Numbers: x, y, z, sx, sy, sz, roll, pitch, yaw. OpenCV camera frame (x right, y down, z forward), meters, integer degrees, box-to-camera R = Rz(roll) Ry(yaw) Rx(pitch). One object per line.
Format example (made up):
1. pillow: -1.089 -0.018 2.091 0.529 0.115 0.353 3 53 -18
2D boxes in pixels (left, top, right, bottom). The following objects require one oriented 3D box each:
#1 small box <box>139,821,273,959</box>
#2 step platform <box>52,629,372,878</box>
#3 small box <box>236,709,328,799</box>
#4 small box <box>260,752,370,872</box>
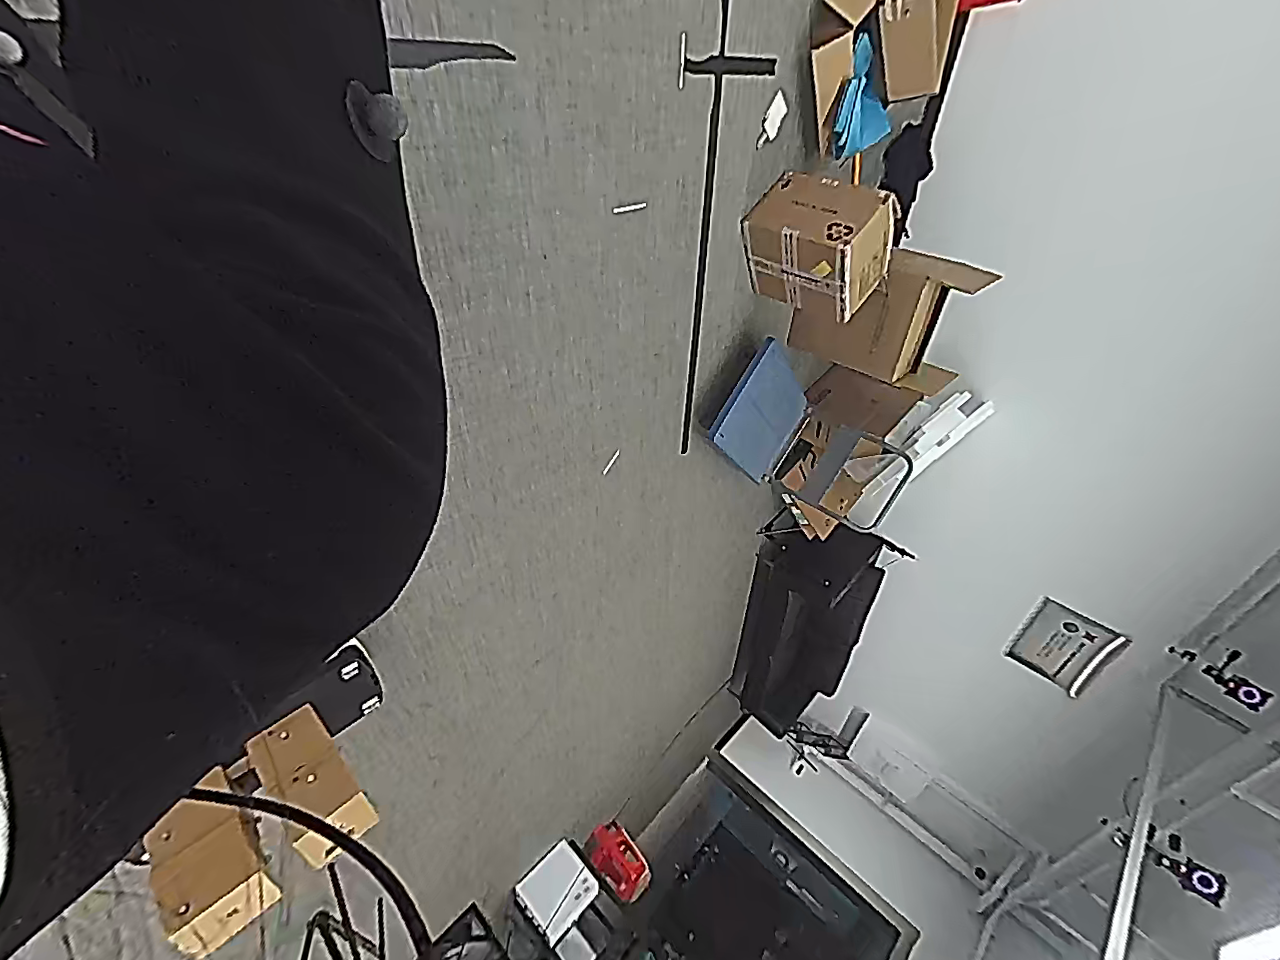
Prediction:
1. small box: -0.990 0.935 1.238 0.179 0.176 0.168 -30 139 -37
2. step platform: -1.131 0.736 1.515 0.684 0.204 0.286 -34 141 -36
3. small box: -0.947 0.763 1.463 0.168 0.176 0.179 -32 139 -37
4. small box: -0.826 0.838 1.380 0.168 0.176 0.179 -32 139 -37
